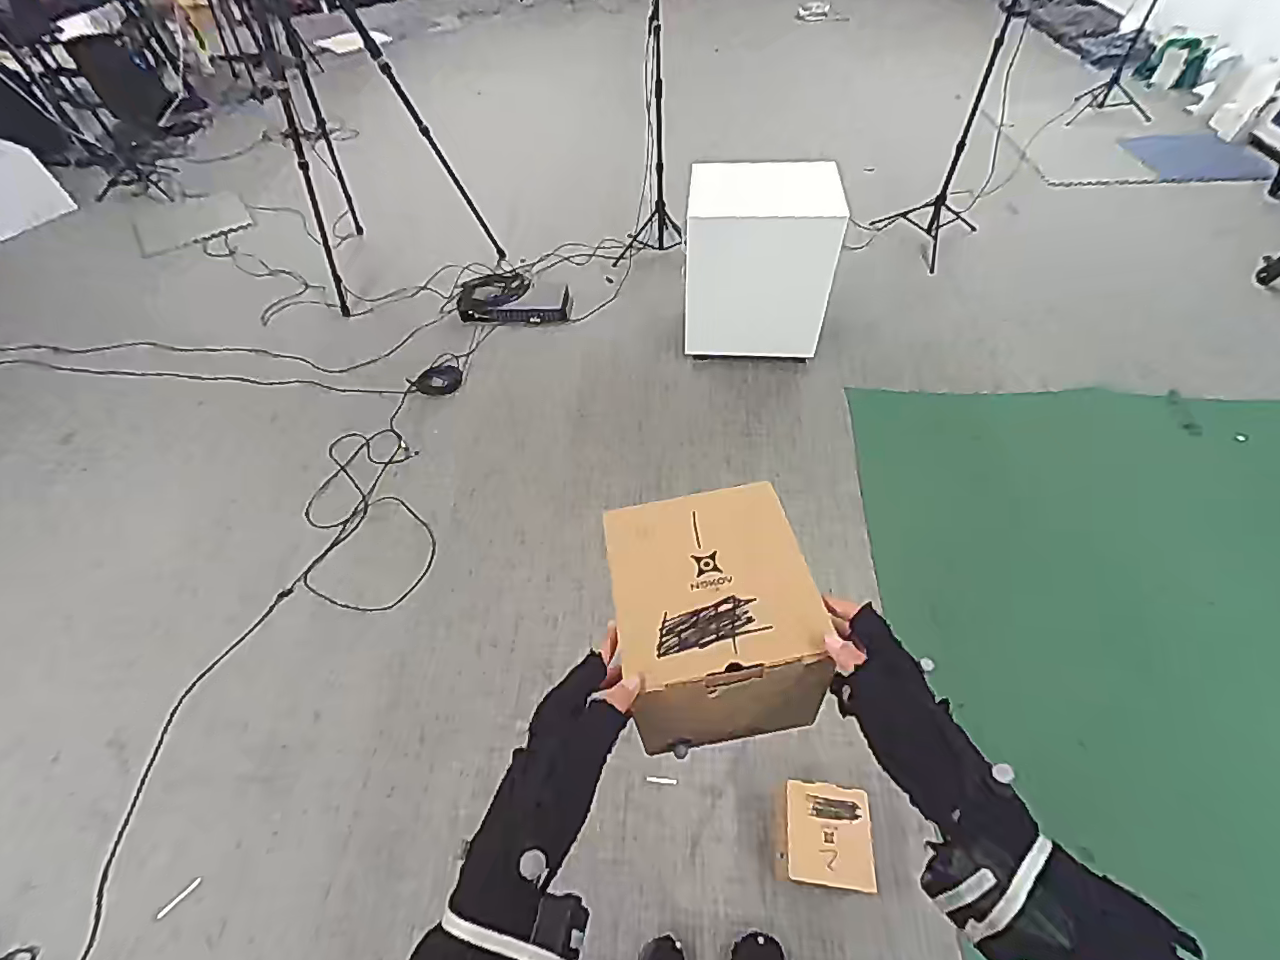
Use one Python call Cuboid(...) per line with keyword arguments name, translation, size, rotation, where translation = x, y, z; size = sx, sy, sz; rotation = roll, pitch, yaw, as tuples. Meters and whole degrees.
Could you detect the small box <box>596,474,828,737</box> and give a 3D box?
Cuboid(name="small box", translation=(0.059, 0.124, 0.510), size=(0.168, 0.176, 0.179), rotation=(-10, 47, -1))
